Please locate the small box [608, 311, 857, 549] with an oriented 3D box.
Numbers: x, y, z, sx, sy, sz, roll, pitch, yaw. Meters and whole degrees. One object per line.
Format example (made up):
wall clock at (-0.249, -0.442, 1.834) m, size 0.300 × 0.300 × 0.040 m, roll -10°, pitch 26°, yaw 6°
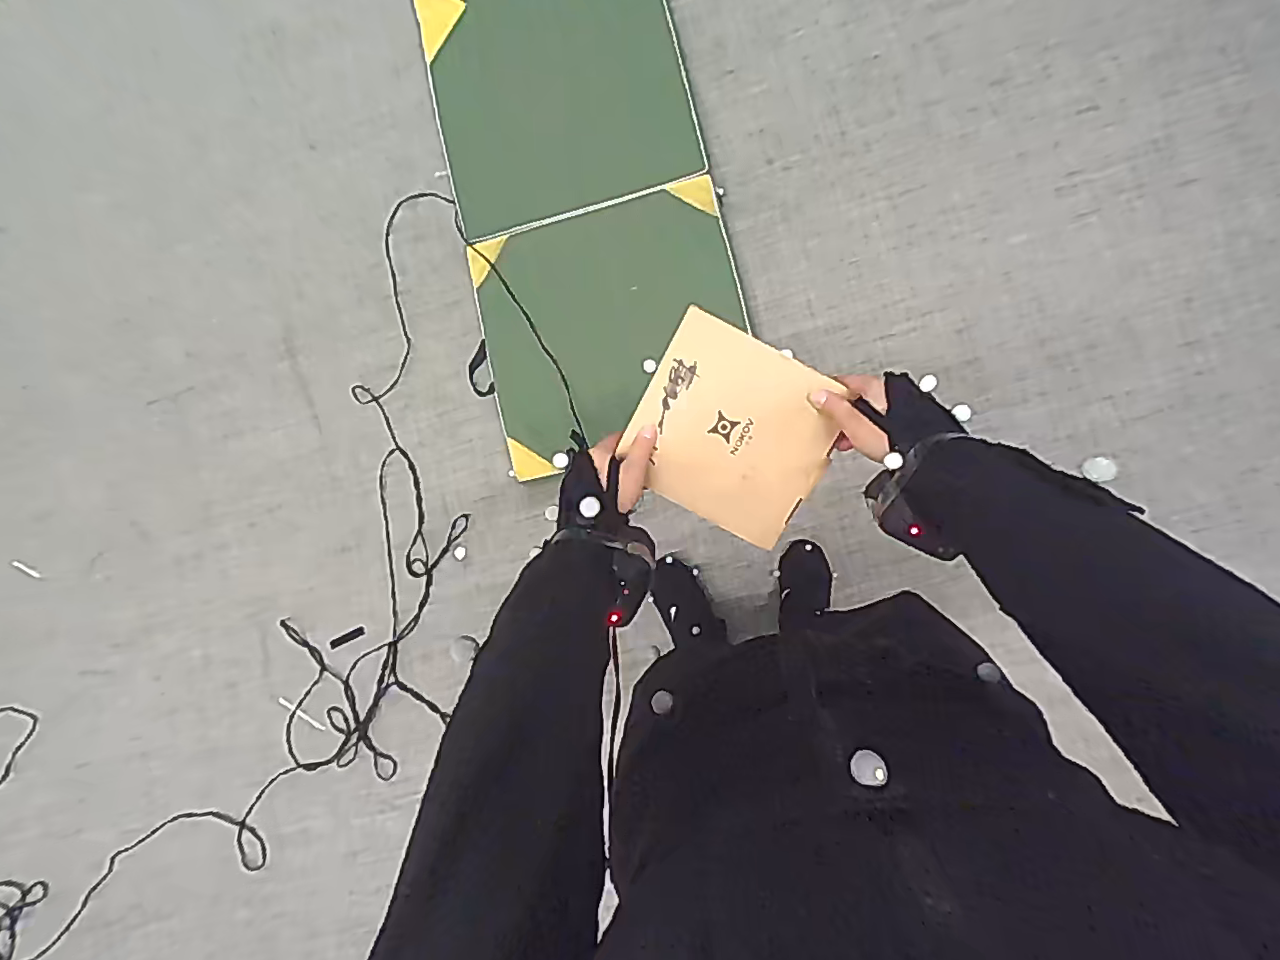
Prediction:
small box at (0.088, -0.058, 0.573) m, size 0.179 × 0.176 × 0.168 m, roll 28°, pitch 101°, yaw -1°
